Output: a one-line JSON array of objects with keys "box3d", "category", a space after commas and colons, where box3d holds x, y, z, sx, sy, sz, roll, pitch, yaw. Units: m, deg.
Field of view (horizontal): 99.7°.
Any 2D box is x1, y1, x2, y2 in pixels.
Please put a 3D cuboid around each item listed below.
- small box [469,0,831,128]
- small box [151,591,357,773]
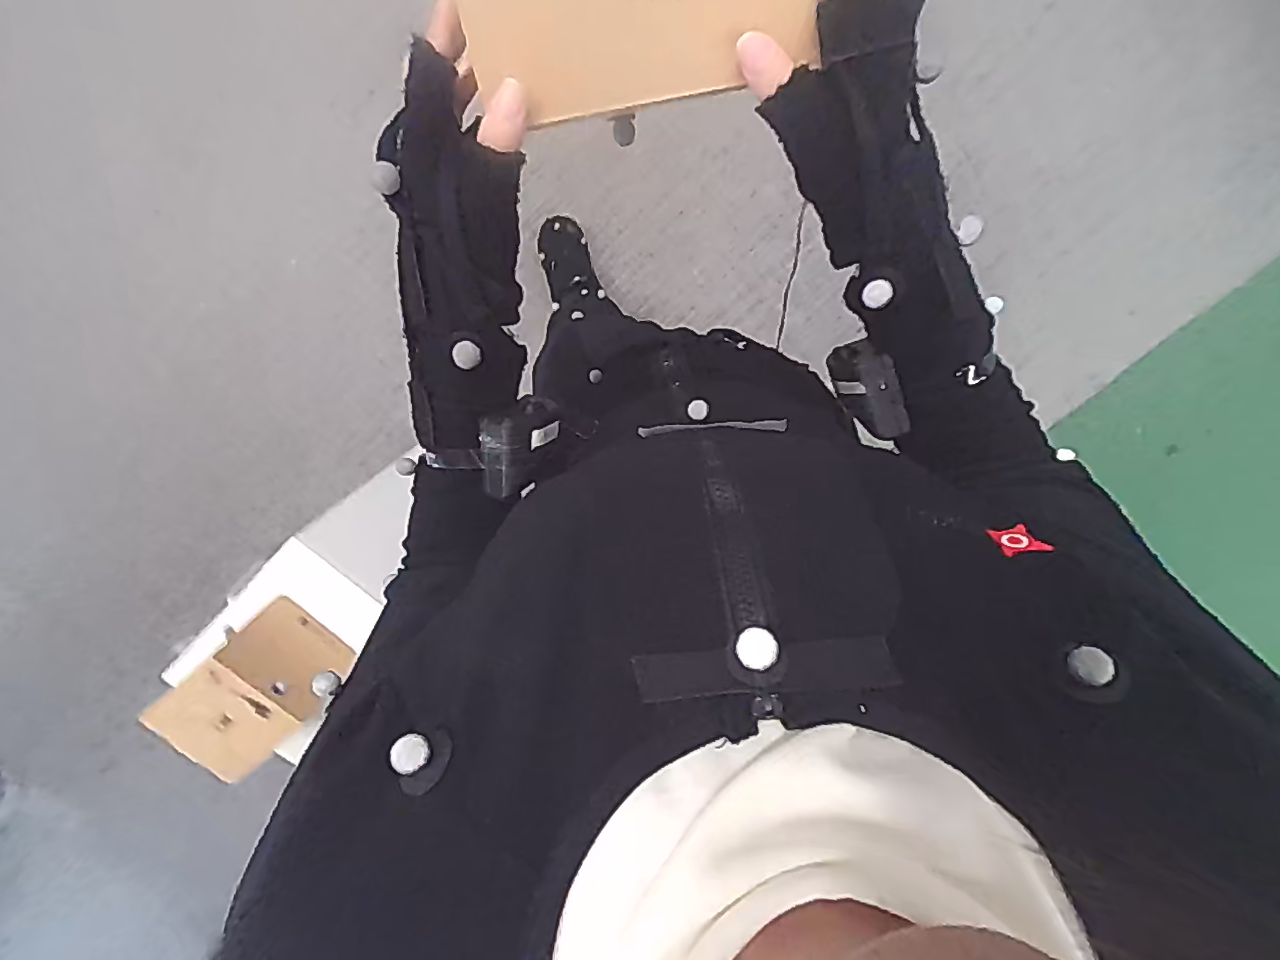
[{"box3d": [-0.007, -0.300, 0.284, 0.168, 0.176, 0.179, -9, 123, 1], "category": "small box"}, {"box3d": [-0.602, 0.317, 0.869, 0.179, 0.176, 0.168, -38, 106, 13], "category": "small box"}]
